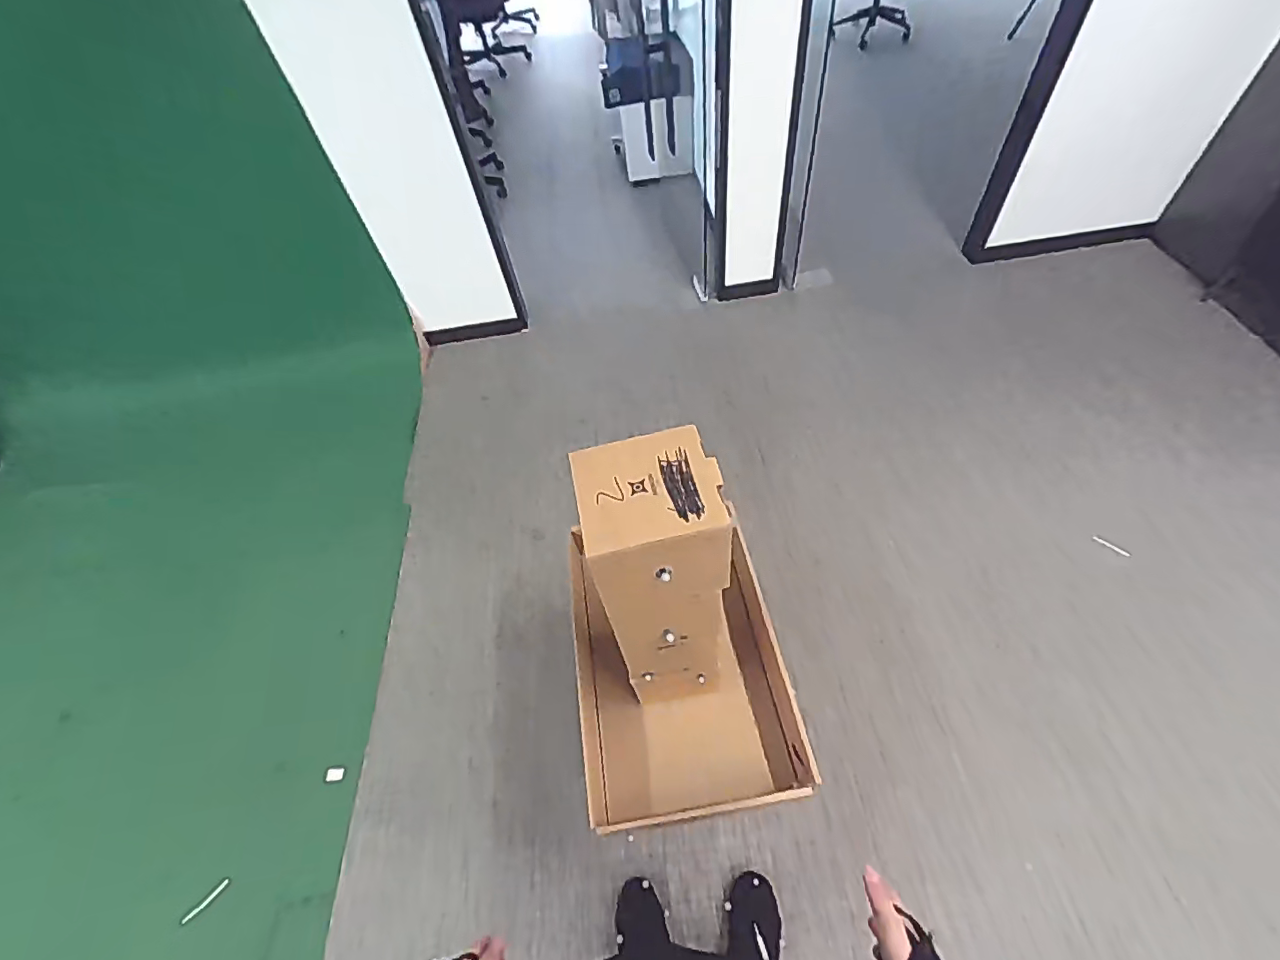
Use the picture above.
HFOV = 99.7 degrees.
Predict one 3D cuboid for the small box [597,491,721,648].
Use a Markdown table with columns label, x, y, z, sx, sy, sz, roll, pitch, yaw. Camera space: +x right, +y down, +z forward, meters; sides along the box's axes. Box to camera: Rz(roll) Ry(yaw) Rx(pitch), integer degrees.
| label | x | y | z | sx | sy | sz | roll | pitch | yaw |
| --- | --- | --- | --- | --- | --- | --- | --- | --- | --- |
| small box | 0.029 | 0.145 | 0.862 | 0.168 | 0.176 | 0.179 | -10 | 53 | 0 |

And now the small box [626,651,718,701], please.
| label | x | y | z | sx | sy | sz | roll | pitch | yaw |
| --- | --- | --- | --- | --- | --- | --- | --- | --- | --- |
| small box | 0.062 | 0.344 | 1.122 | 0.179 | 0.176 | 0.168 | -10 | 52 | 0 |

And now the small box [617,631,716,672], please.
| label | x | y | z | sx | sy | sz | roll | pitch | yaw |
| --- | --- | --- | --- | --- | --- | --- | --- | --- | --- |
| small box | 0.046 | 0.242 | 0.995 | 0.168 | 0.176 | 0.179 | -8 | 52 | 1 |
